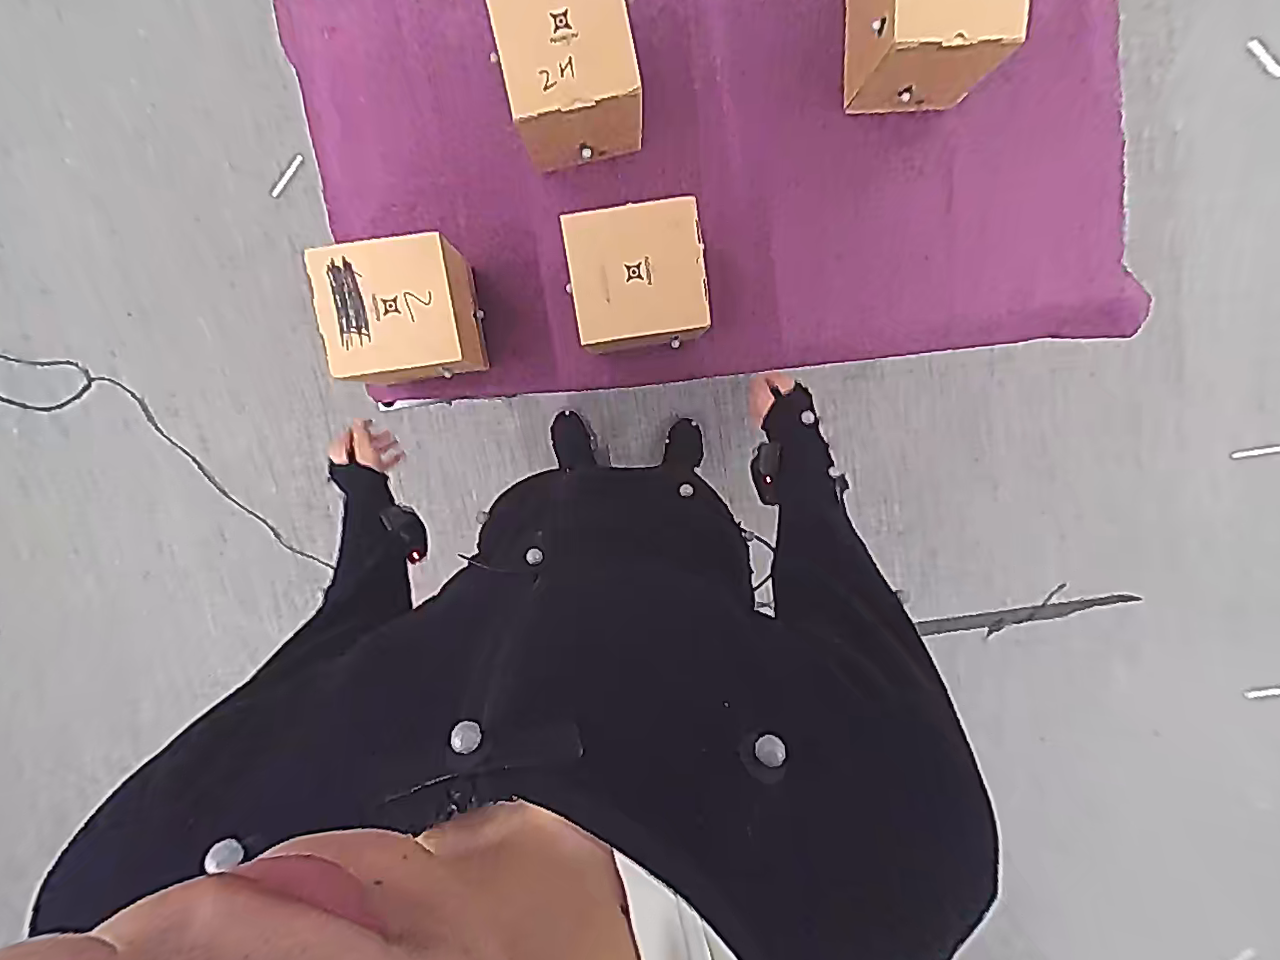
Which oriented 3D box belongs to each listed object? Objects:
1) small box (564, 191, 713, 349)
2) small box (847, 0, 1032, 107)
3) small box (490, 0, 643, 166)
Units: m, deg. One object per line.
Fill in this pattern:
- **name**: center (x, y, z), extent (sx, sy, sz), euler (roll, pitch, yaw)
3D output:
- **small box**: center (-0.003, -0.286, 0.770), extent (0.179, 0.176, 0.168), euler (-8, 98, 0)
- **small box**: center (0.388, -0.637, 0.722), extent (0.168, 0.176, 0.179), euler (-2, 100, 1)
- **small box**: center (-0.094, -0.563, 0.731), extent (0.168, 0.176, 0.179), euler (-12, 99, 2)
